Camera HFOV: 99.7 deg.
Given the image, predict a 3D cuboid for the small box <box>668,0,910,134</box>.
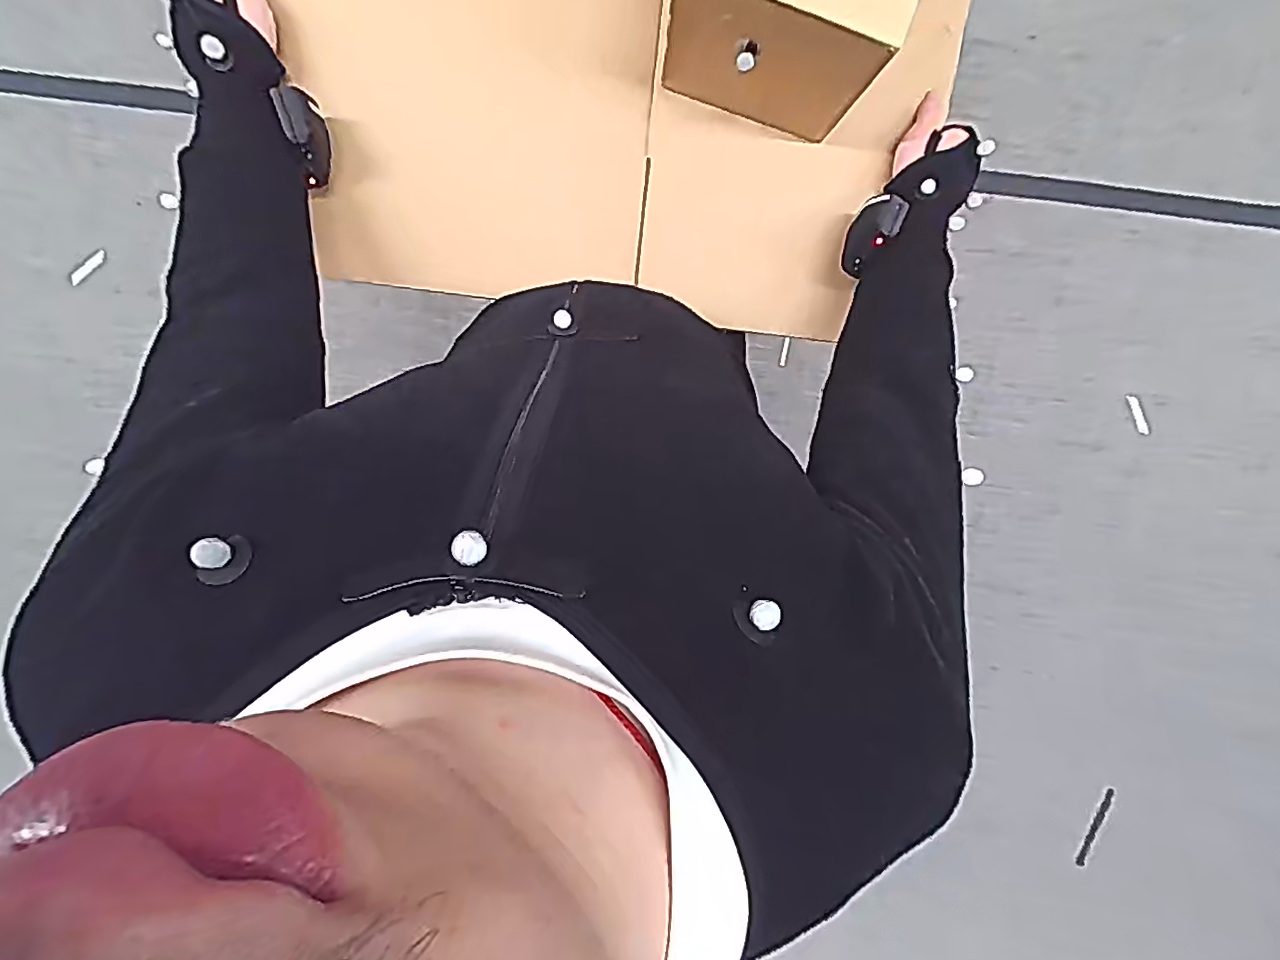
[{"bbox_3d":[0.129,-0.434,0.460,0.179,0.176,0.168,17,100,-4],"label":"small box"}]
